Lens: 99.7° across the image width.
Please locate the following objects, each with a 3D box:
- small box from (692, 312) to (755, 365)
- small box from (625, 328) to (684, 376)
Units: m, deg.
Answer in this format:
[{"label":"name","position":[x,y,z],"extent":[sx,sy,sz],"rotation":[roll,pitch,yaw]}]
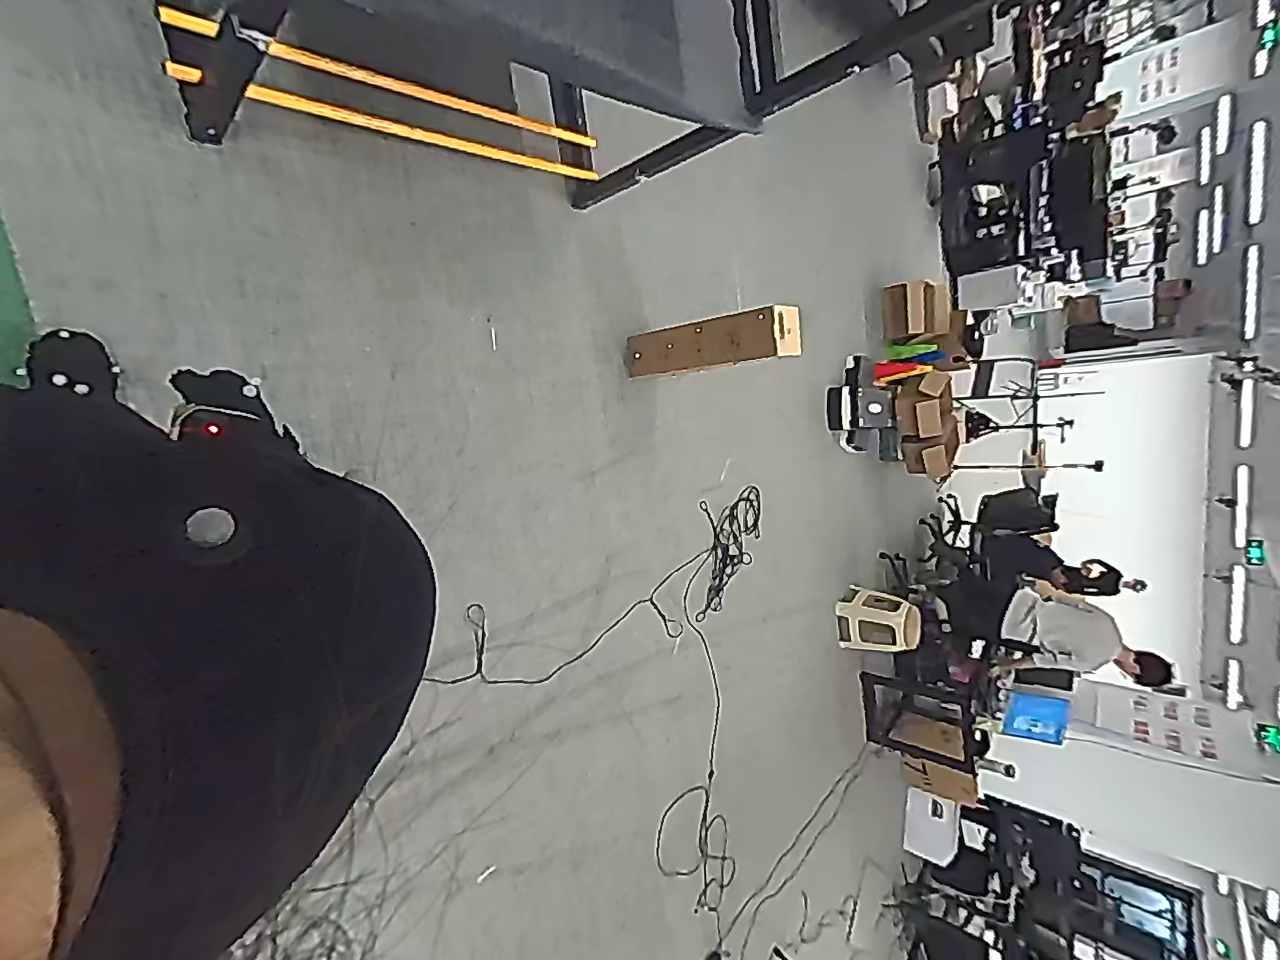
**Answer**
[{"label":"small box","position":[0.300,-0.514,1.986],"extent":[0.179,0.176,0.168],"rotation":[-14,102,-47]},{"label":"small box","position":[0.058,-0.519,2.204],"extent":[0.179,0.176,0.168],"rotation":[-11,98,-47]}]
